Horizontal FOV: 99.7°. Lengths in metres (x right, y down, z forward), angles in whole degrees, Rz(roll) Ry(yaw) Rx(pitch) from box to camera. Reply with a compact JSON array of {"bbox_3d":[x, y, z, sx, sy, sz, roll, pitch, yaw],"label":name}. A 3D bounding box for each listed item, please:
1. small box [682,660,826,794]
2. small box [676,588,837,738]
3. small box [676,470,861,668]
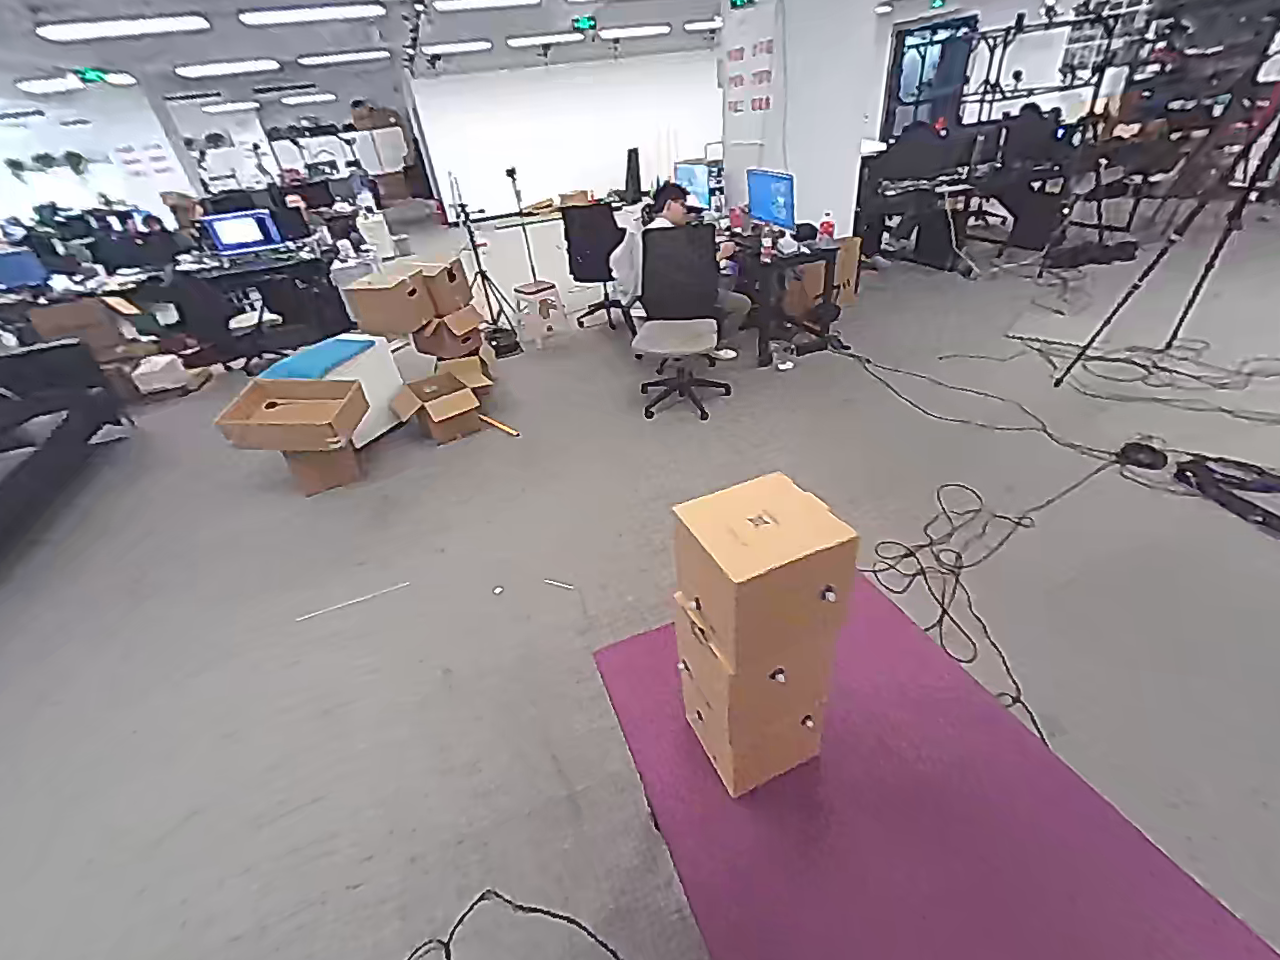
[{"bbox_3d":[0.187,0.385,0.910,0.179,0.176,0.168,-18,35,-16],"label":"small box"},{"bbox_3d":[0.170,0.250,0.817,0.179,0.176,0.168,-17,36,-16],"label":"small box"},{"bbox_3d":[0.162,0.115,0.726,0.179,0.176,0.168,-18,35,-15],"label":"small box"}]
